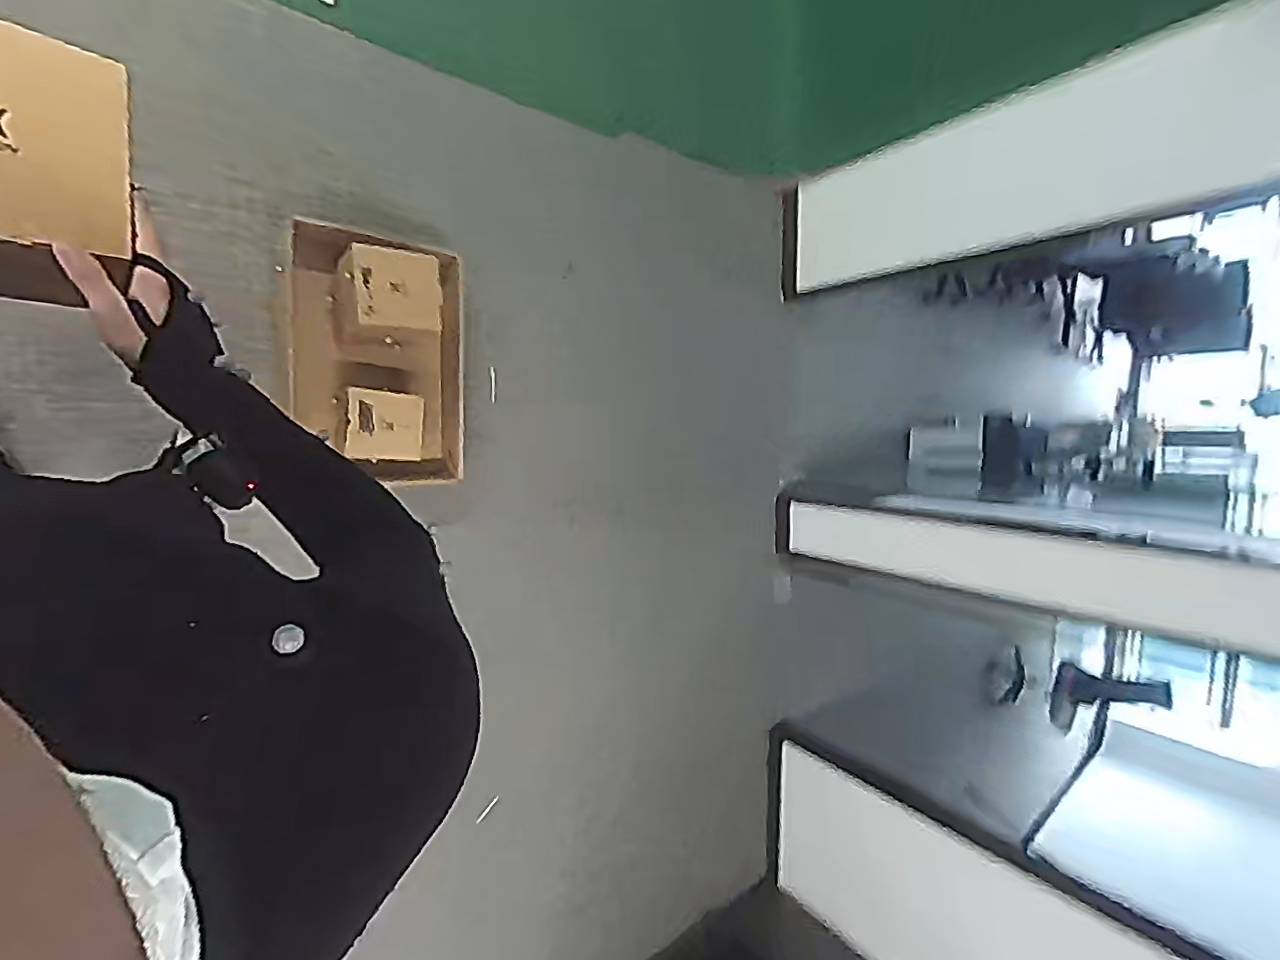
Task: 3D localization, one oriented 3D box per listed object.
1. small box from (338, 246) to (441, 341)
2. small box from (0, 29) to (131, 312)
[{"bbox_3d":[-0.574,-0.415,1.238,0.179,0.176,0.168,-5,98,-38],"label":"small box"},{"bbox_3d":[-0.563,-0.264,0.468,0.168,0.176,0.179,-4,92,-45],"label":"small box"}]
